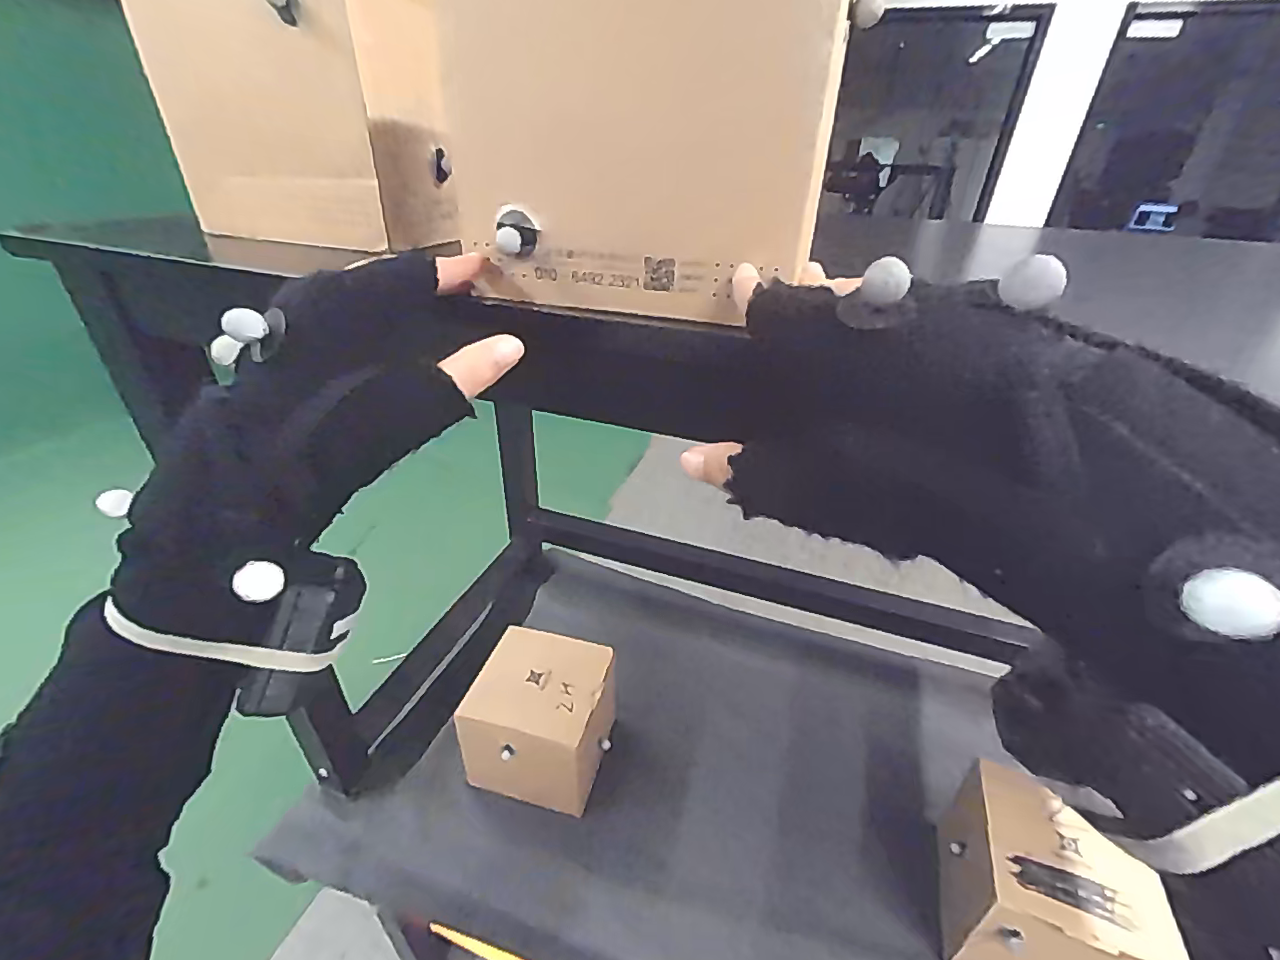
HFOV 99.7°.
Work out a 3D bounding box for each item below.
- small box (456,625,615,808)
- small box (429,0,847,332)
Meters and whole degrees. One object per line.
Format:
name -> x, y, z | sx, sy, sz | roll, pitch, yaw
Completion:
small box -> -0.144, 0.348, 0.803 | 0.179, 0.176, 0.168 | 10, 33, 12
small box -> 0.013, -0.188, 0.294 | 0.168, 0.176, 0.179 | 11, 32, 14
